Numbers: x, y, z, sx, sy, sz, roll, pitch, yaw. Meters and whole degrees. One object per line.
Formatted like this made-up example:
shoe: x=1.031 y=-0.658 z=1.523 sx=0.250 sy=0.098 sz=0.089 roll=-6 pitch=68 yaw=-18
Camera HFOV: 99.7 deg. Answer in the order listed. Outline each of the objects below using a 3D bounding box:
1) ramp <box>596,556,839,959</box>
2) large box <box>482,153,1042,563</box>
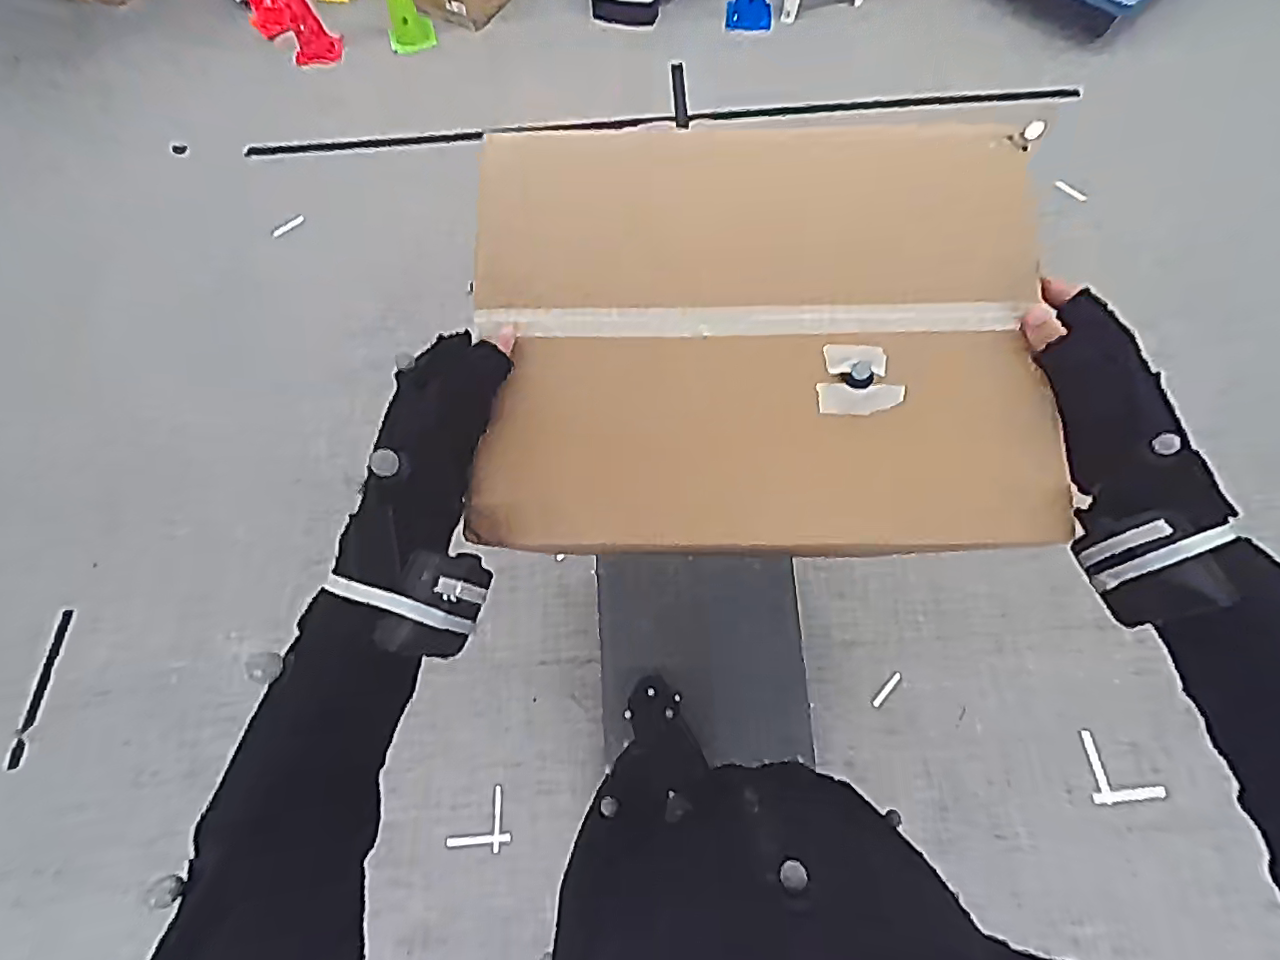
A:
ramp: x=0.166 y=0.649 z=1.273 sx=0.509 sy=0.206 sz=0.991 roll=-5 pitch=69 yaw=-1
large box: x=0.082 y=-0.080 z=0.552 sx=0.408 sy=0.320 sz=0.320 roll=-1 pitch=81 yaw=1
